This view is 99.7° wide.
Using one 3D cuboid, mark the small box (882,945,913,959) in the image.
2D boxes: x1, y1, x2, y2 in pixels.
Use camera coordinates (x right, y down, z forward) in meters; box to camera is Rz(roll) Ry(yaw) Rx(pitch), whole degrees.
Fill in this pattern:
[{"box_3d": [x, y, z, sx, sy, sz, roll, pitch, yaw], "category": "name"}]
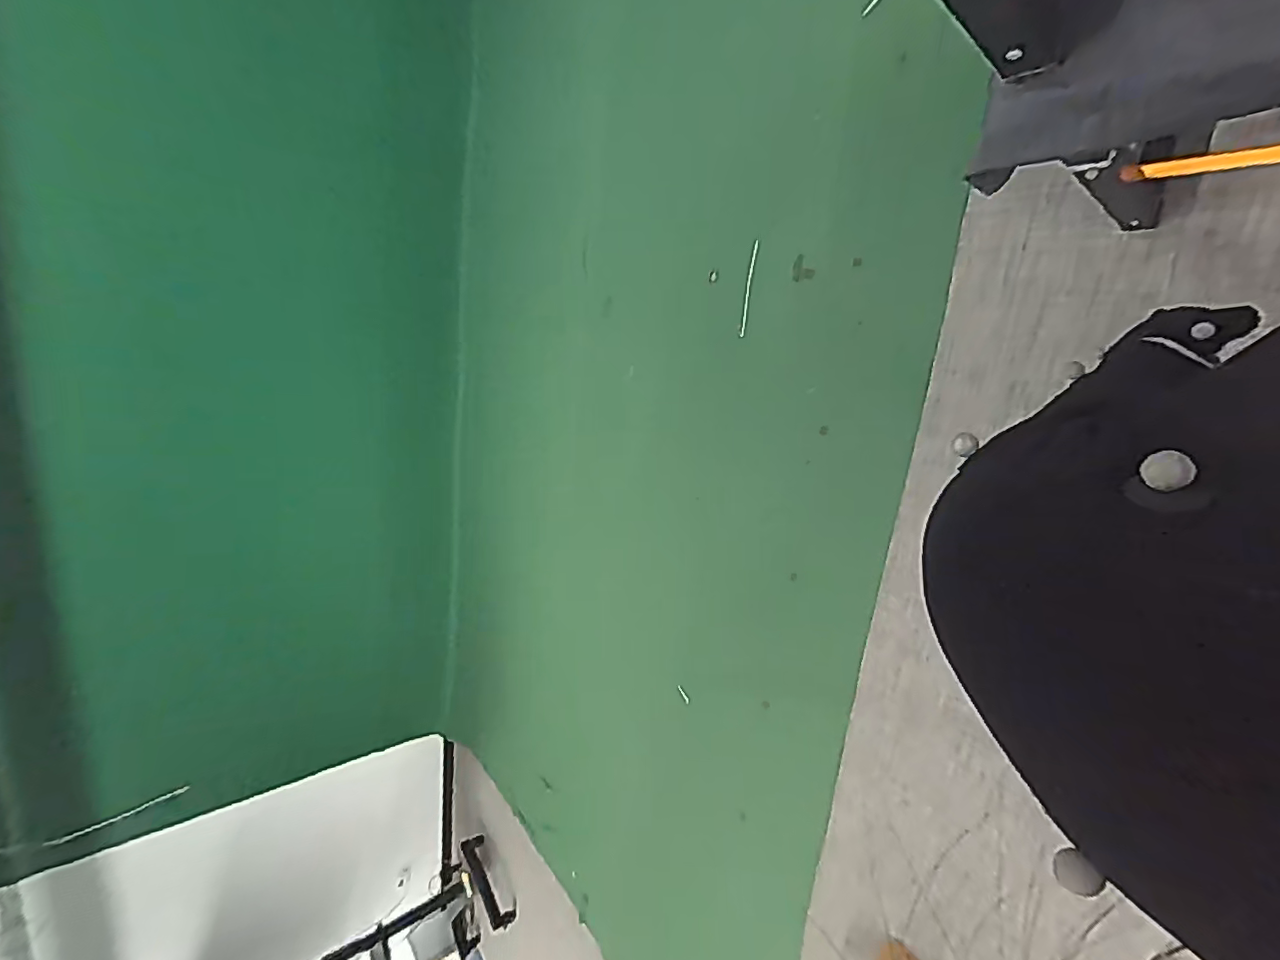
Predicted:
[{"box_3d": [0.736, 1.478, 1.518, 0.168, 0.176, 0.179, 23, 112, 47], "category": "small box"}]
